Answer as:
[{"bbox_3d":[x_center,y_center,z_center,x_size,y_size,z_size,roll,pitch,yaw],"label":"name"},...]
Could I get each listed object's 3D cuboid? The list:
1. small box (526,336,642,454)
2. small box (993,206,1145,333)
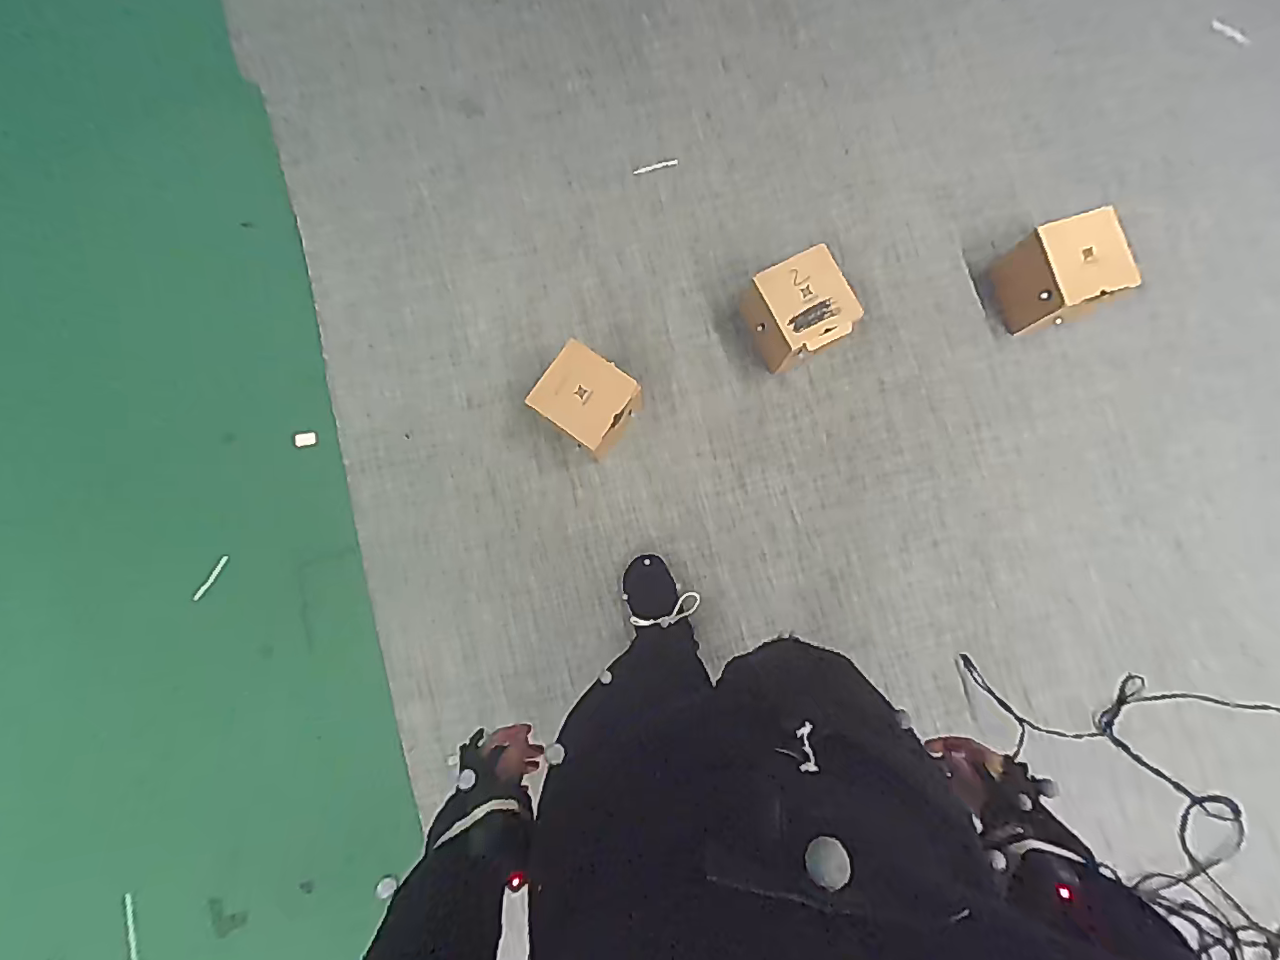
[{"bbox_3d":[-0.110,-0.170,1.152,0.179,0.176,0.168,35,85,5],"label":"small box"},{"bbox_3d":[0.907,-0.444,1.163,0.168,0.176,0.179,-17,85,-1],"label":"small box"}]
